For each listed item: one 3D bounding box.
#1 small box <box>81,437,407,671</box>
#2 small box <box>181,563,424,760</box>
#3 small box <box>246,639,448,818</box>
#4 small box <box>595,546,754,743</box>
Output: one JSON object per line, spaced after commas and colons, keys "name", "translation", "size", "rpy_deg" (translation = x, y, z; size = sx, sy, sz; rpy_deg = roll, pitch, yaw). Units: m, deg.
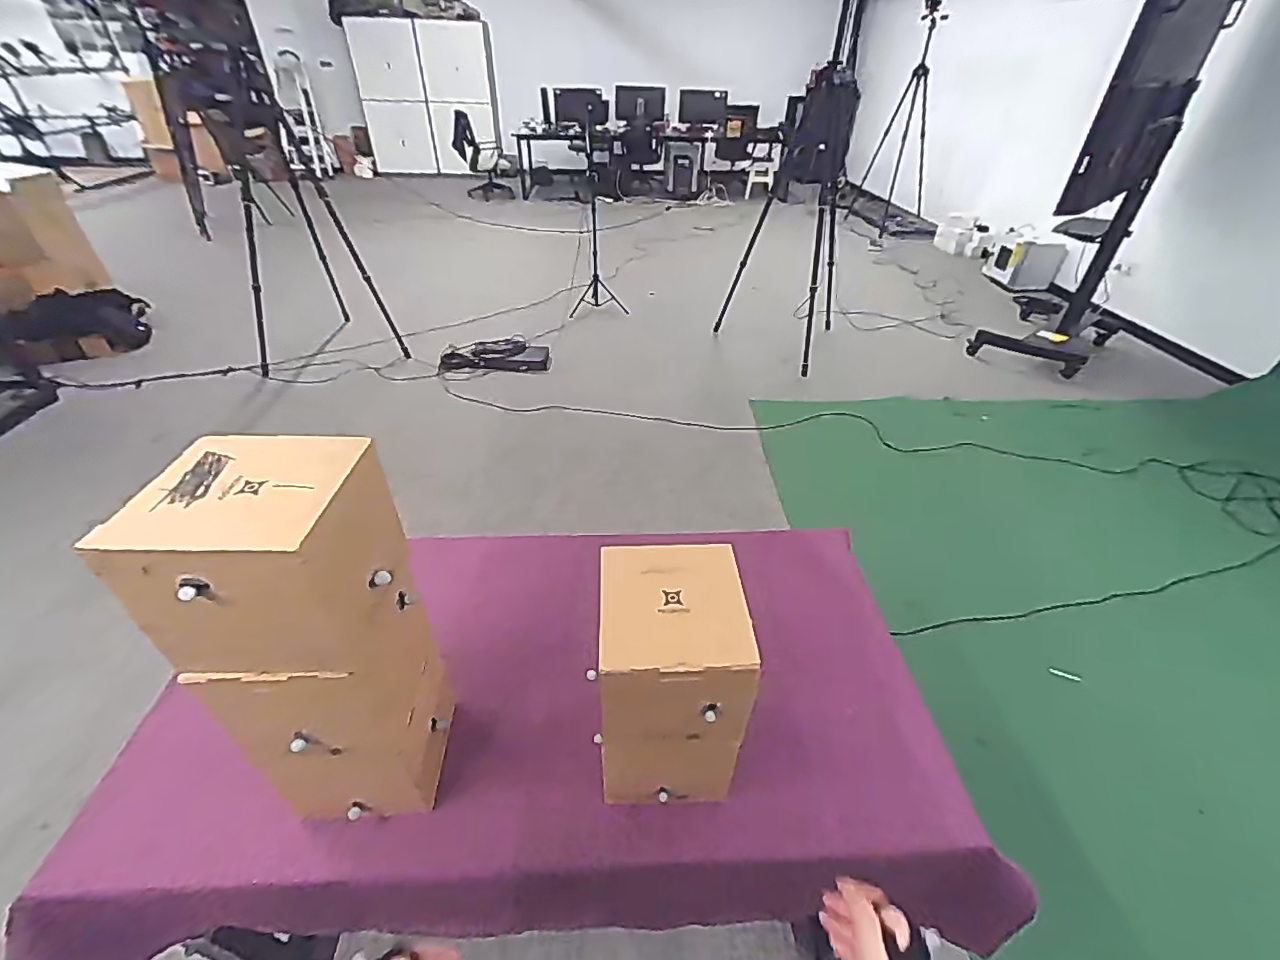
{"name": "small box", "translation": [-0.360, 0.072, 0.538], "size": [0.179, 0.176, 0.168], "rpy_deg": [1, 38, -2]}
{"name": "small box", "translation": [-0.369, 0.203, 0.638], "size": [0.168, 0.176, 0.179], "rpy_deg": [-1, 38, -3]}
{"name": "small box", "translation": [-0.374, 0.336, 0.735], "size": [0.179, 0.176, 0.168], "rpy_deg": [-1, 37, -5]}
{"name": "small box", "translation": [0.032, 0.202, 0.659], "size": [0.168, 0.176, 0.179], "rpy_deg": [0, 38, -3]}
